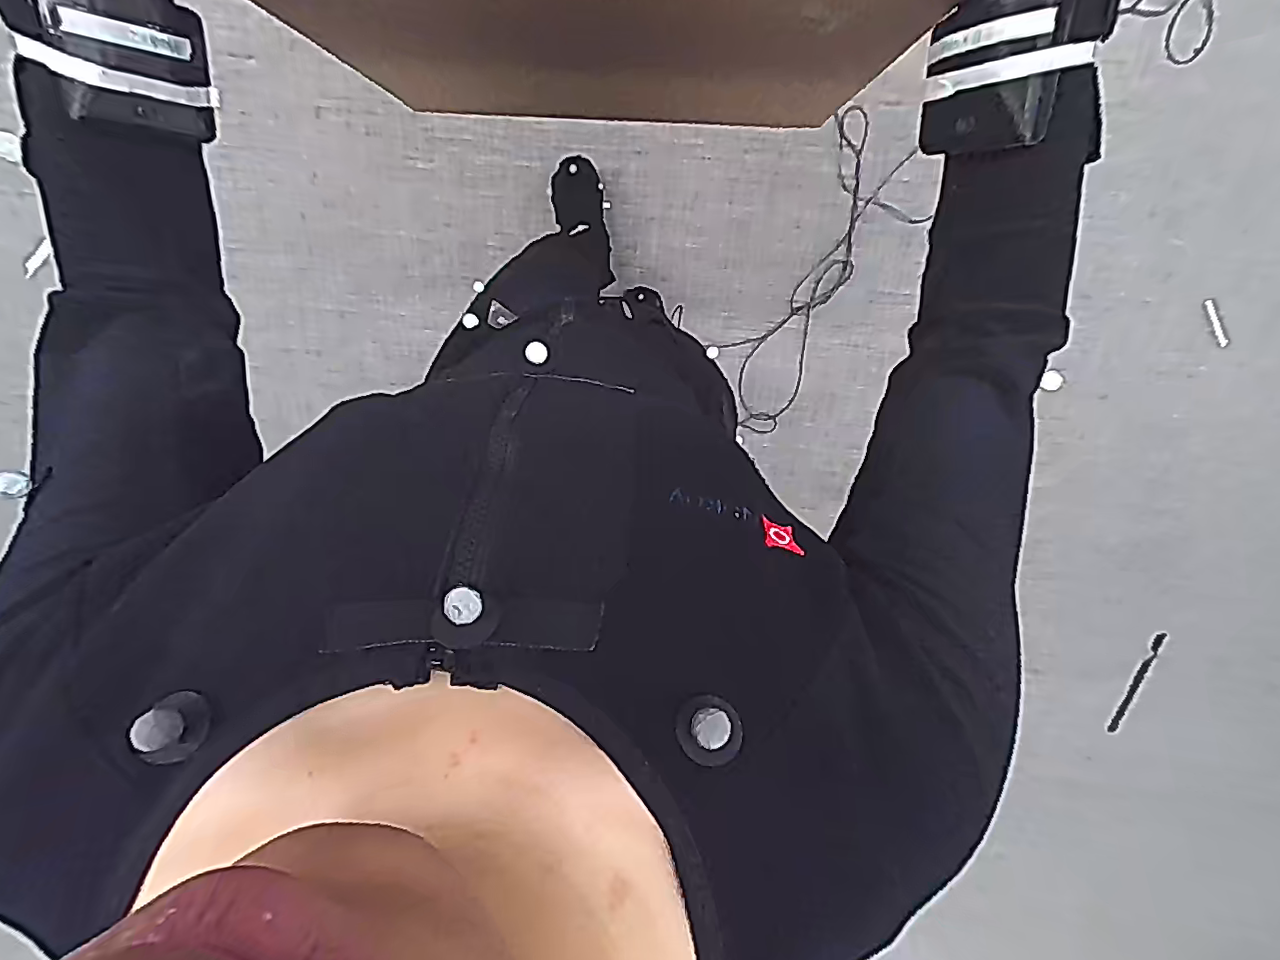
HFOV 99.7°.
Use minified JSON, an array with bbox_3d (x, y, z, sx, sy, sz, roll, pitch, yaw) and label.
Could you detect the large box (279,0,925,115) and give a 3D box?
[{"bbox_3d":[-0.023,-0.453,0.345,0.408,0.320,0.320,2,112,0],"label":"large box"}]
